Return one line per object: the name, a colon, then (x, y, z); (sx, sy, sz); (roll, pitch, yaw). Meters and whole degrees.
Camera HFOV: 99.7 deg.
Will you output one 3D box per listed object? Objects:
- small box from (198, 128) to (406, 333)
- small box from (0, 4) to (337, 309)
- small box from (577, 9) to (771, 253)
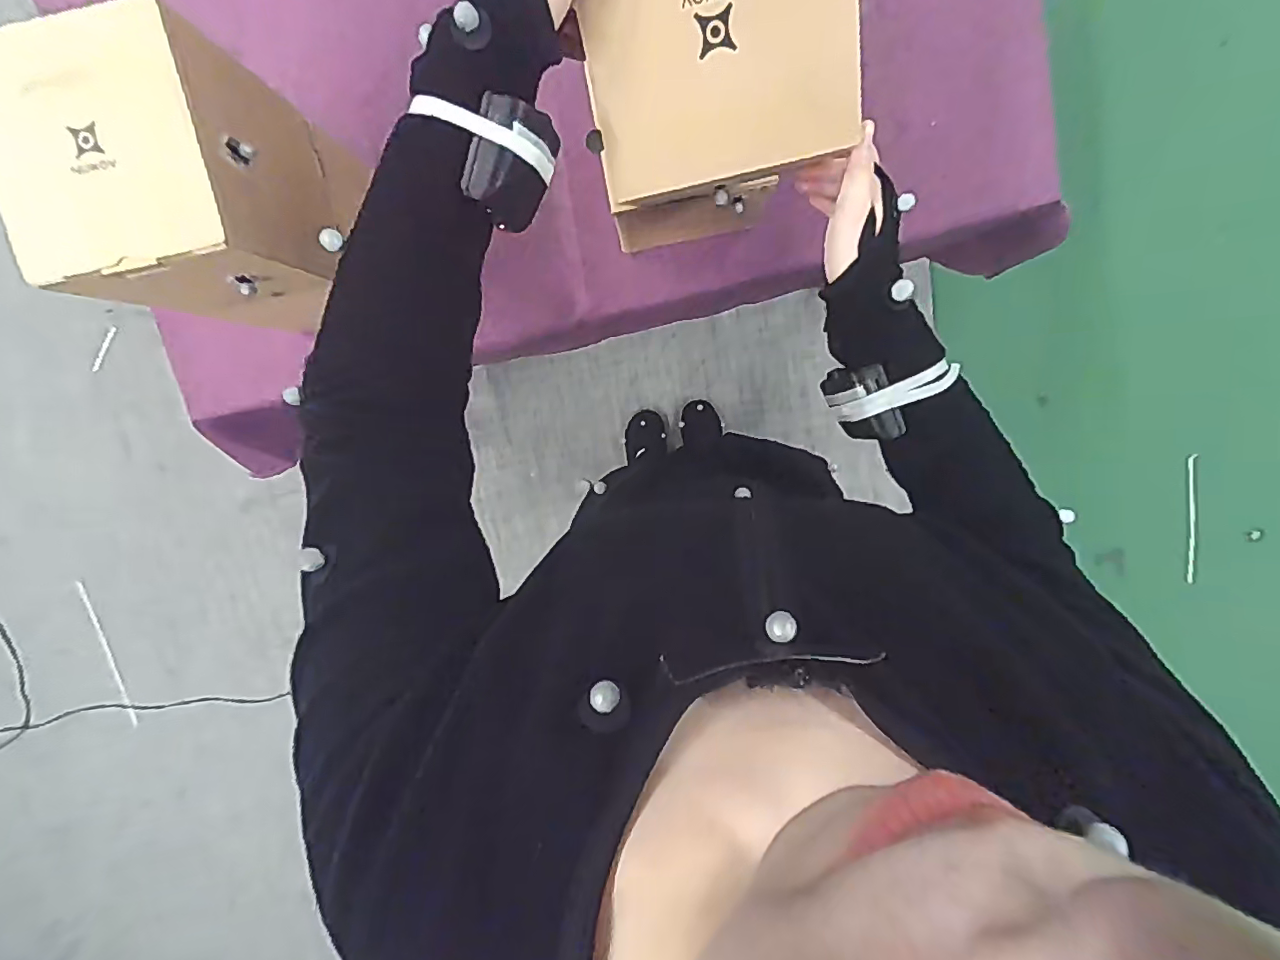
small box: (-0.404, -0.280, 0.646); (0.179, 0.176, 0.168); (-11, 99, 3)
small box: (-0.408, -0.258, 0.484); (0.168, 0.176, 0.179); (-9, 98, 3)
small box: (0.038, -0.375, 0.619); (0.179, 0.176, 0.168); (-10, 99, 3)
